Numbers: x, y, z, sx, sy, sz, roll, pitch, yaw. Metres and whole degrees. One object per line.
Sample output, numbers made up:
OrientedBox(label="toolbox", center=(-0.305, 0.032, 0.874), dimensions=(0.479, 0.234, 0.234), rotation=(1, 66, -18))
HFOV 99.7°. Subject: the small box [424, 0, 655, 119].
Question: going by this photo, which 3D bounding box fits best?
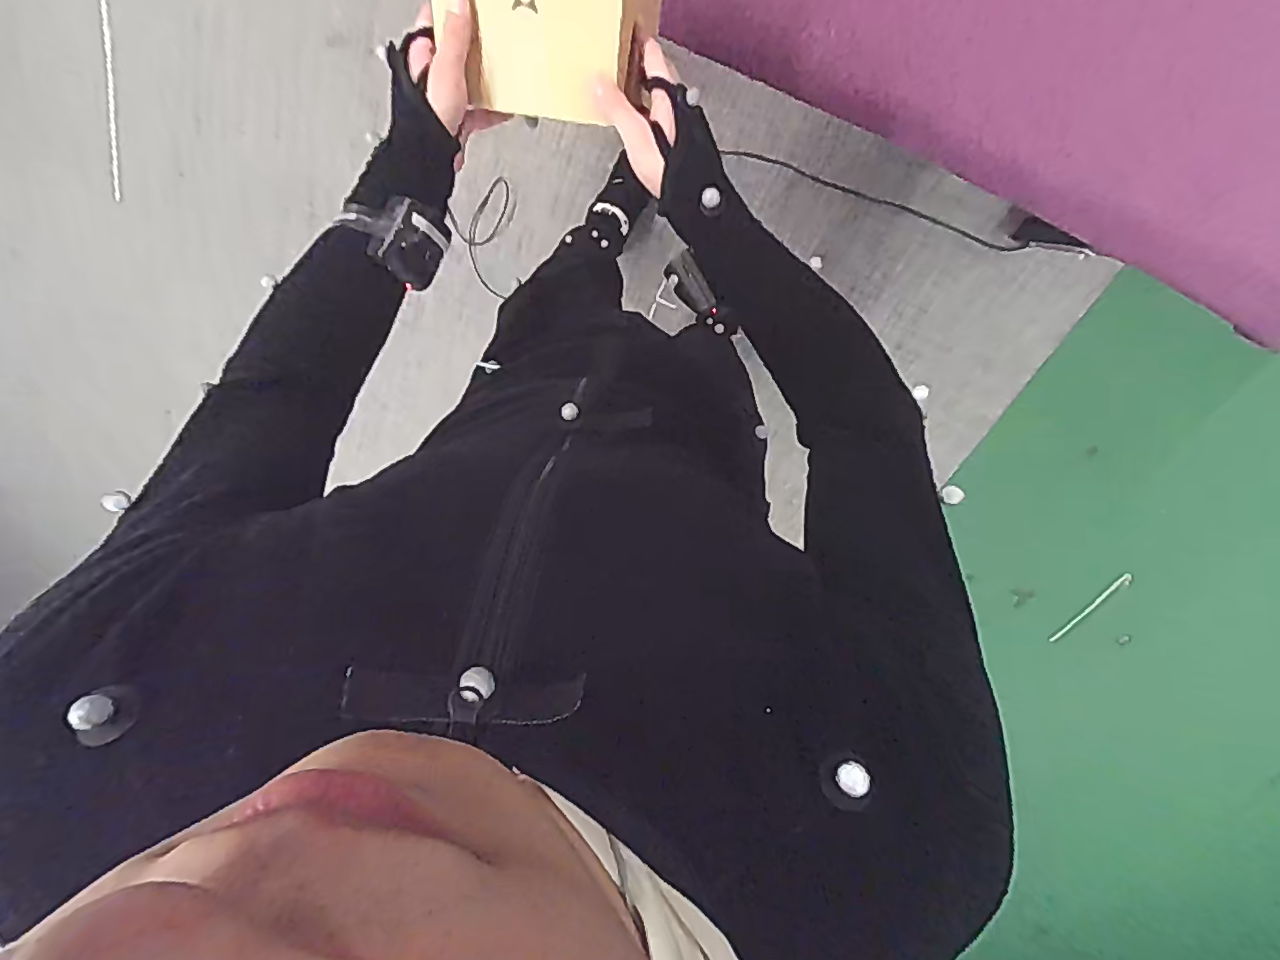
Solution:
OrientedBox(label="small box", center=(-0.080, -0.446, 0.489), dimensions=(0.168, 0.176, 0.179), rotation=(12, 127, 6))
